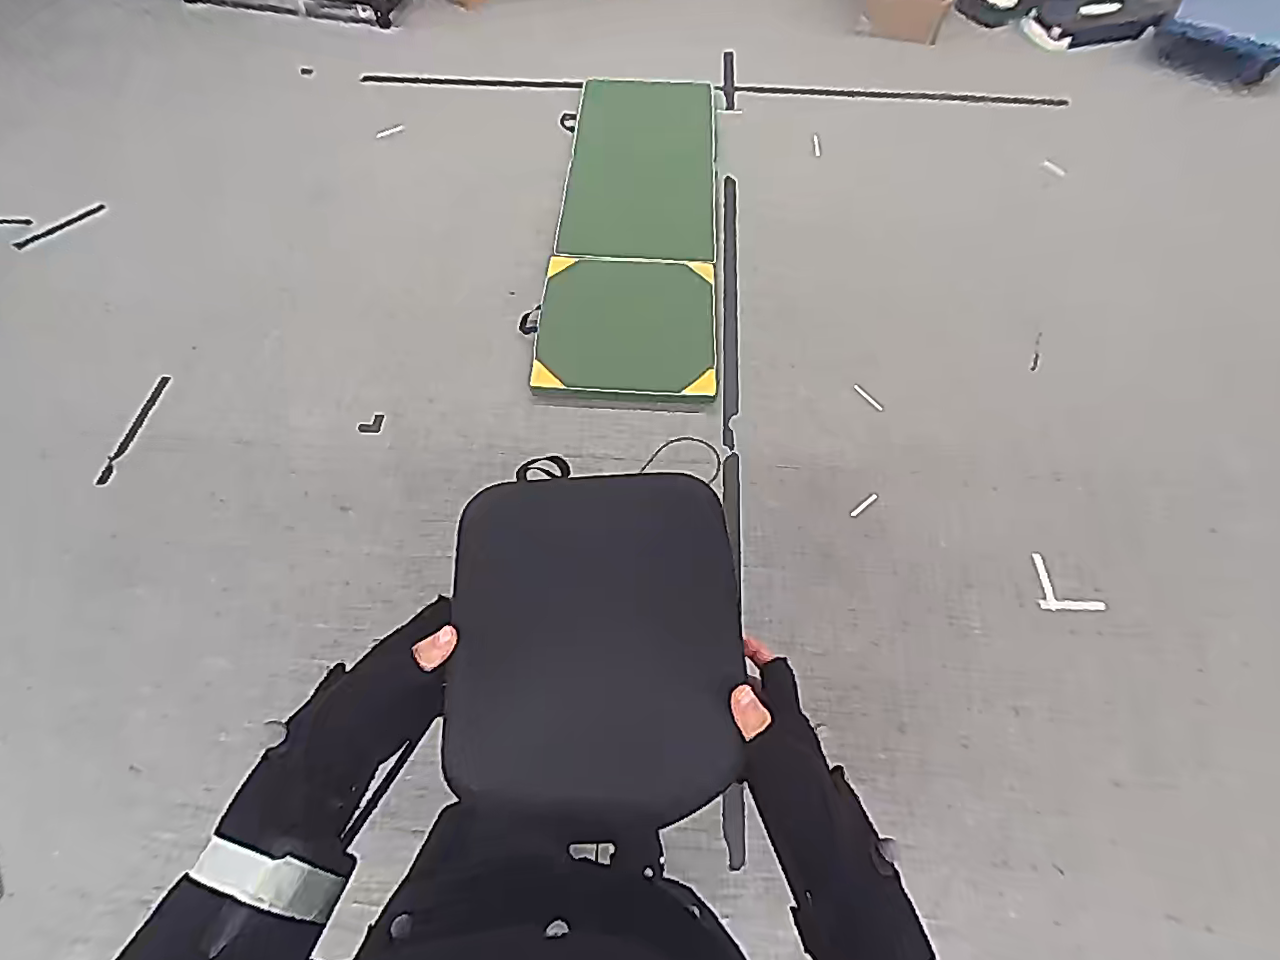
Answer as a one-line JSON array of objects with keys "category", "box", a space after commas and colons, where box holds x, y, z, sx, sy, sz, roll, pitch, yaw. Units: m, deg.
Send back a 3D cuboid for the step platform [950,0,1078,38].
[{"category": "step platform", "box": [2.052, -2.617, 2.915, 0.684, 0.204, 0.286, -23, 65, -12]}]
